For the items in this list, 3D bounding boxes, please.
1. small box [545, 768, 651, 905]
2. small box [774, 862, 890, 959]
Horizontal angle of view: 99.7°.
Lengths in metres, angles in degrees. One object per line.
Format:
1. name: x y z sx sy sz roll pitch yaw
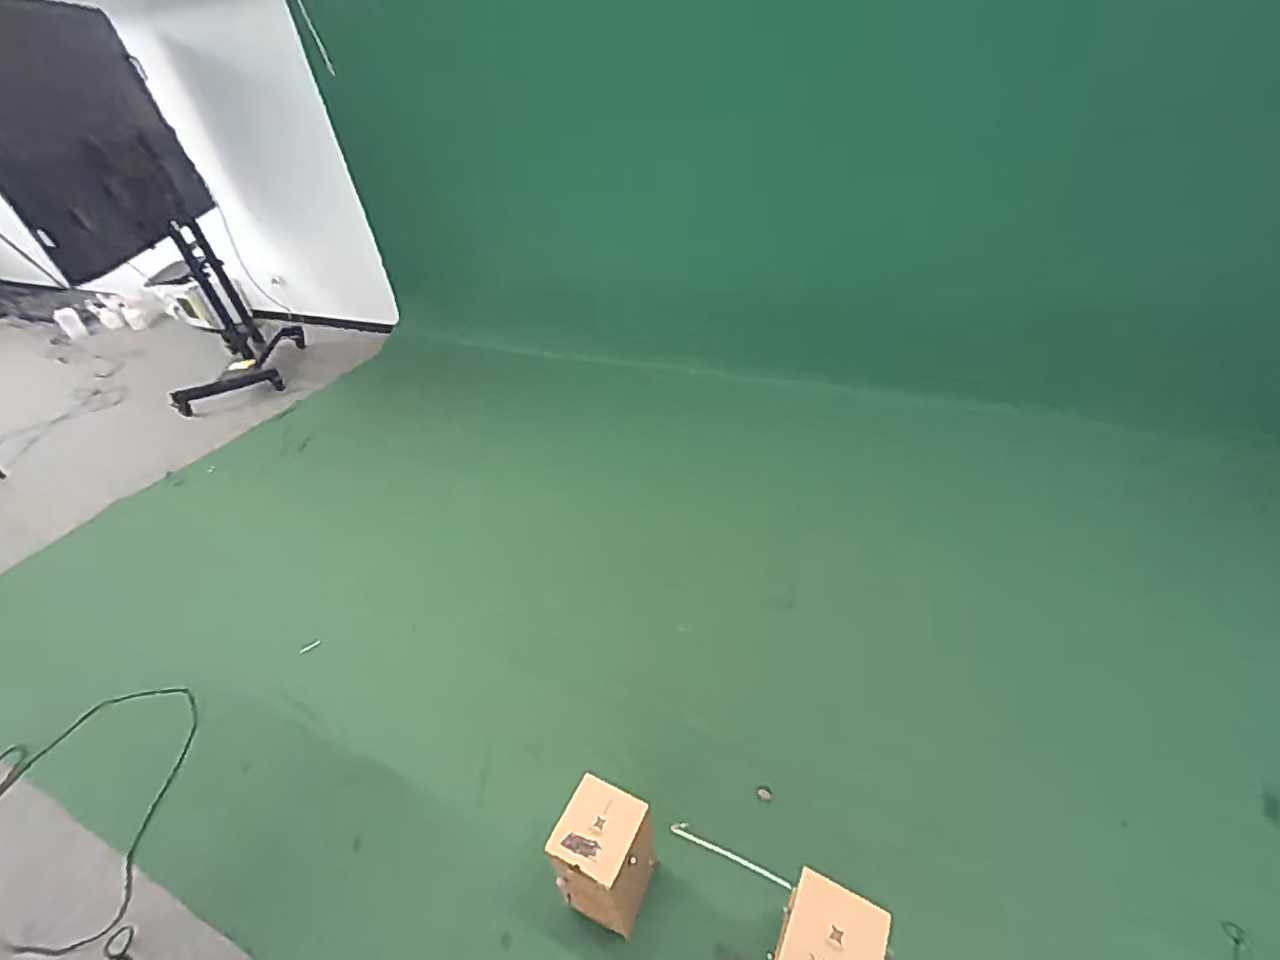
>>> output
1. small box: -0.084 0.798 1.209 0.168 0.176 0.179 15 42 24
2. small box: 0.360 0.891 1.036 0.168 0.176 0.179 17 45 25
